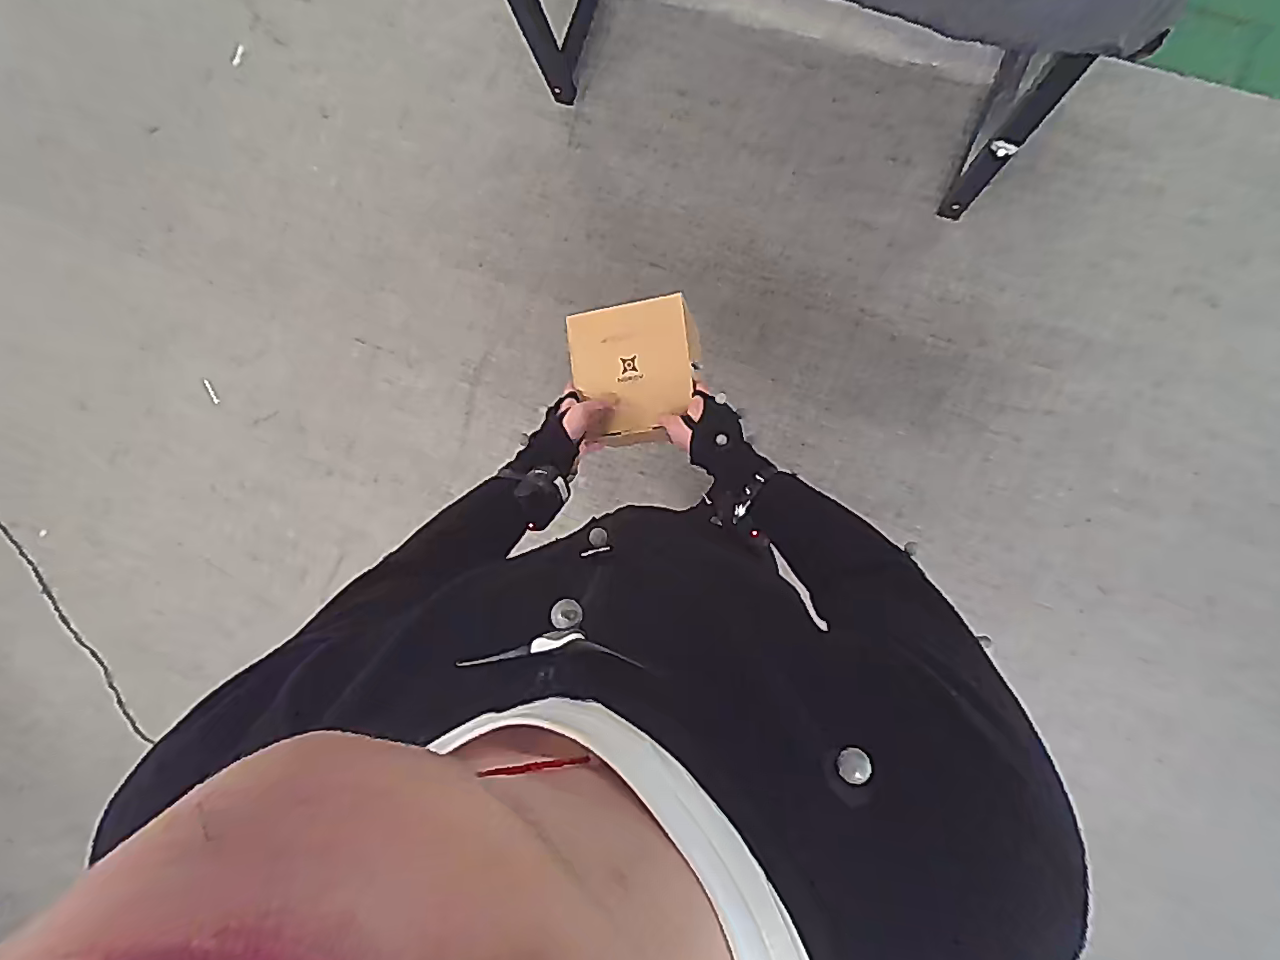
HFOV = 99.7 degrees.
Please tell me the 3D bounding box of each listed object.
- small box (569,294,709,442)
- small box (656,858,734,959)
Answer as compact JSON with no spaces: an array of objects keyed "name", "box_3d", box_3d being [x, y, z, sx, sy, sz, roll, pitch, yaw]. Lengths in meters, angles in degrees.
[{"name":"small box","box_3d":[0.007,-0.152,0.808,0.168,0.176,0.179,-8,88,11]},{"name":"small box","box_3d":[0.153,1.220,1.520,0.168,0.176,0.179,20,95,5]}]
